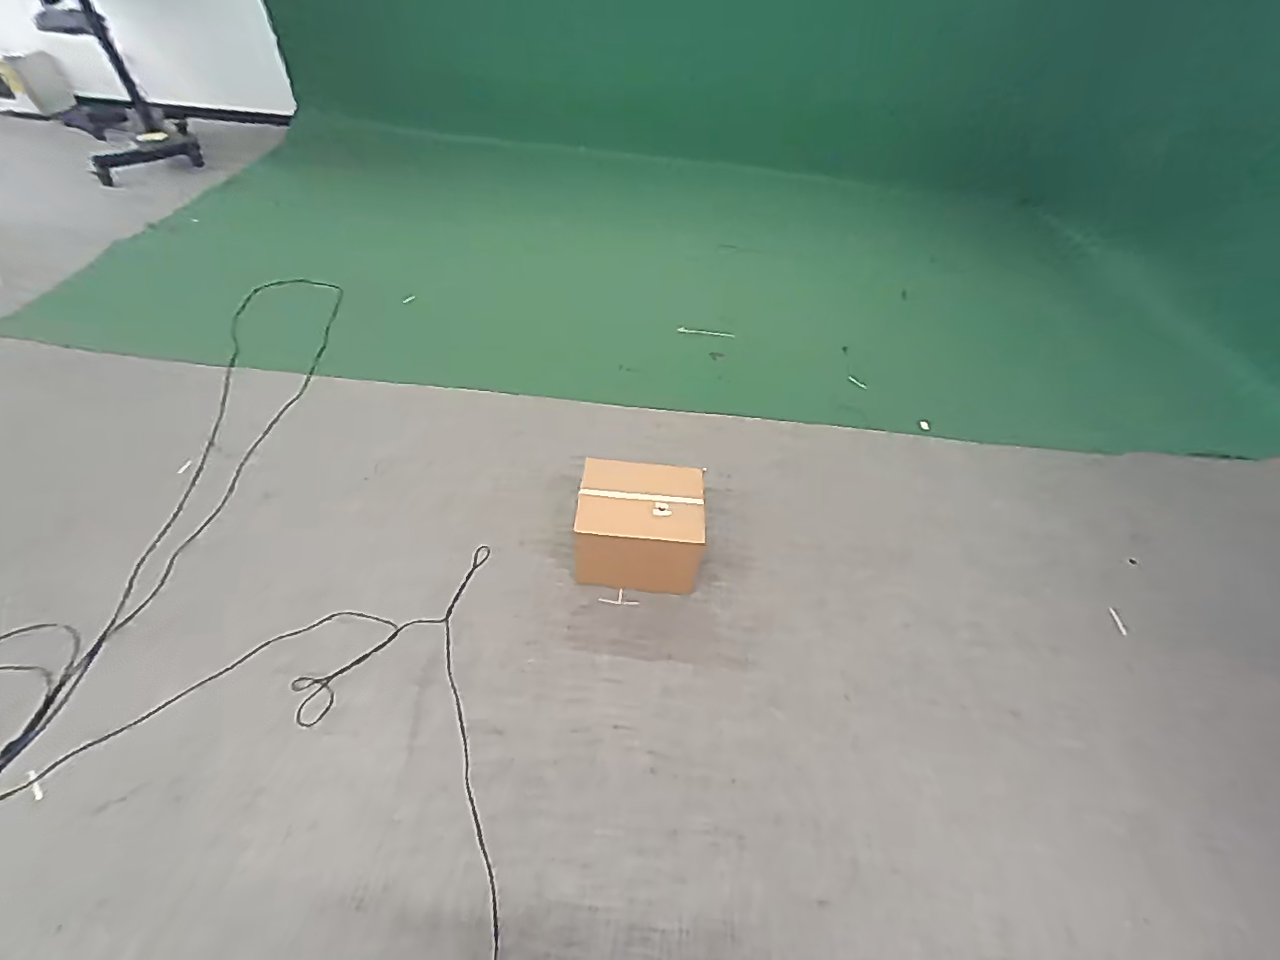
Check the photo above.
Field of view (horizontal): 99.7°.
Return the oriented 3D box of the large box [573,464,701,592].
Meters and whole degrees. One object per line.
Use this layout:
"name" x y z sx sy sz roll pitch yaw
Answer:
"large box" -0.018 0.169 1.860 0.408 0.320 0.320 5 48 -2
